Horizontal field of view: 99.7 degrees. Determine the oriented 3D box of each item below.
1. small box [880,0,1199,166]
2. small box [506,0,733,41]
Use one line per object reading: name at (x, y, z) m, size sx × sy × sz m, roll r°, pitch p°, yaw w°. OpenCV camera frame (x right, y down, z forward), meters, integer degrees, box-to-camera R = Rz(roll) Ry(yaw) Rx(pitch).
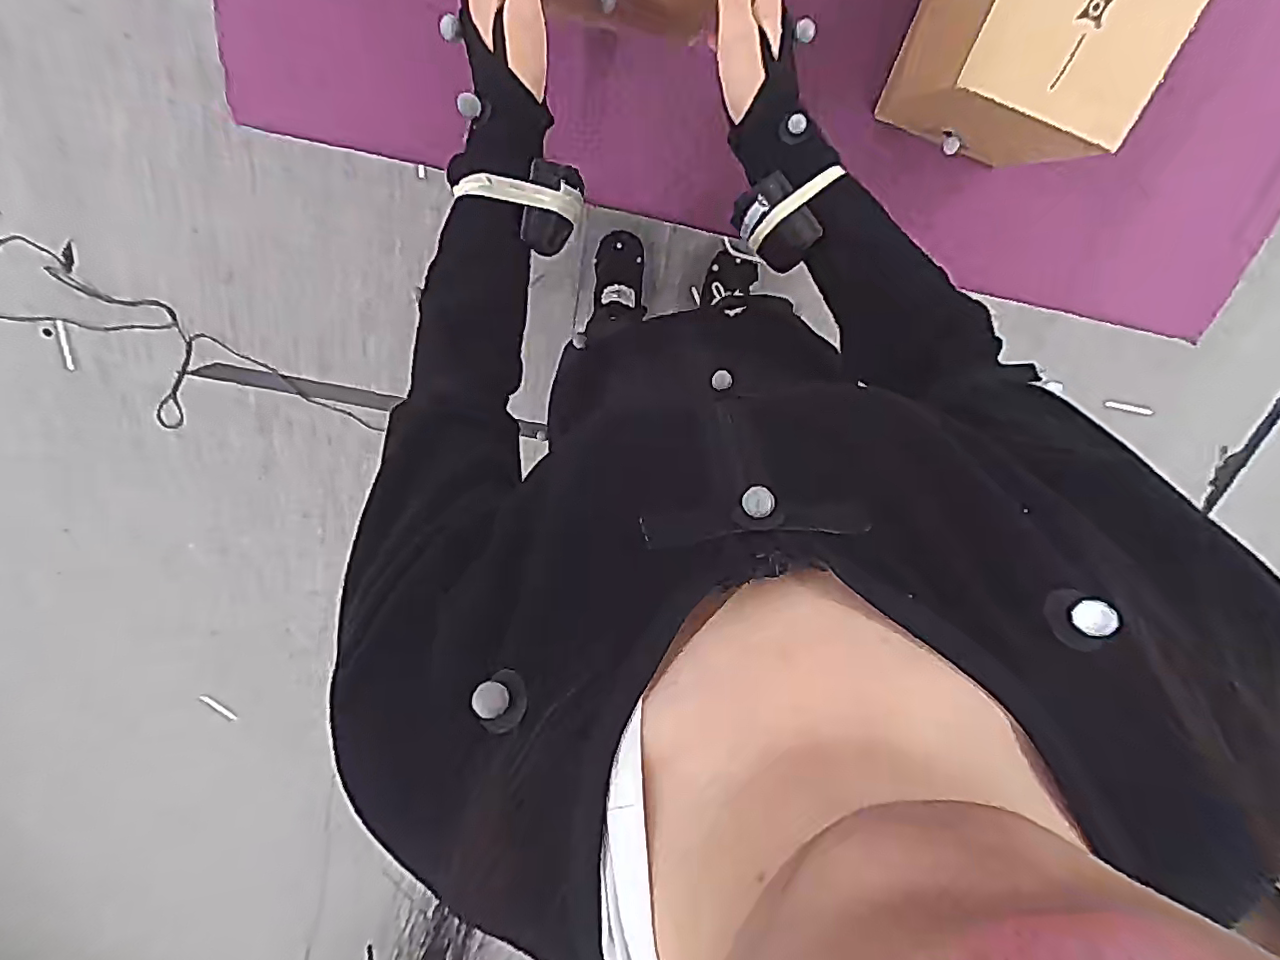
small box at (0.360, -0.419, 0.504) m, size 0.168 × 0.176 × 0.179 m, roll 15°, pitch 114°, yaw -9°
small box at (-0.017, -0.452, 0.396) m, size 0.179 × 0.176 × 0.168 m, roll 3°, pitch 117°, yaw -10°
